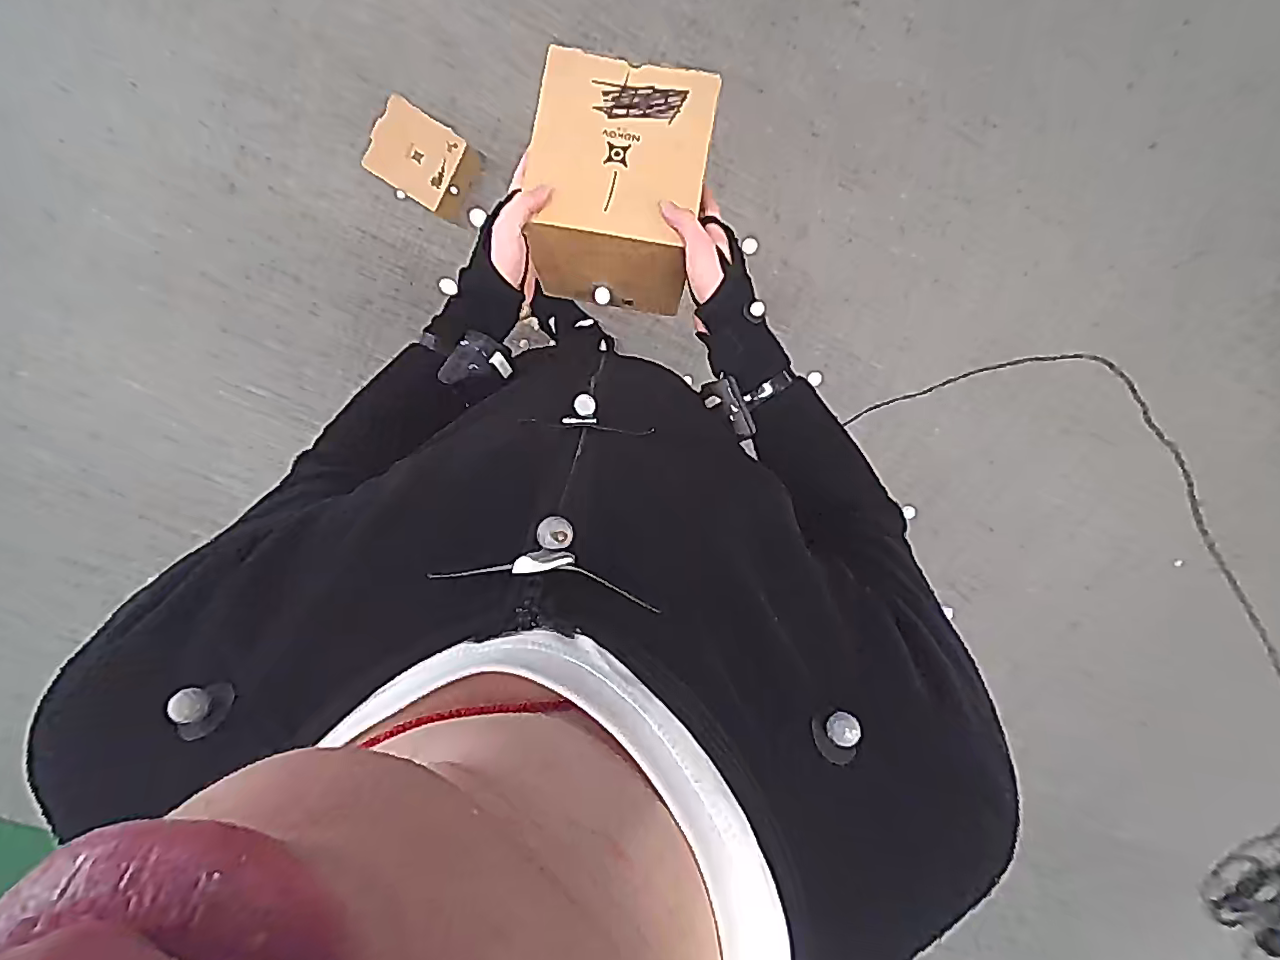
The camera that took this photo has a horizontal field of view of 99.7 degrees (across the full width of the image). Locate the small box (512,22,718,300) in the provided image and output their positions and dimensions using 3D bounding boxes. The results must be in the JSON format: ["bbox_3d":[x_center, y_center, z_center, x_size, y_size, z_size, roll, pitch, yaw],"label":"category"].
[{"bbox_3d":[-0.023,-0.318,0.571,0.168,0.176,0.179,10,85,0],"label":"small box"}]

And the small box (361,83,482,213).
[{"bbox_3d":[-0.488,-0.741,1.234,0.179,0.176,0.168,31,102,-12],"label":"small box"}]
